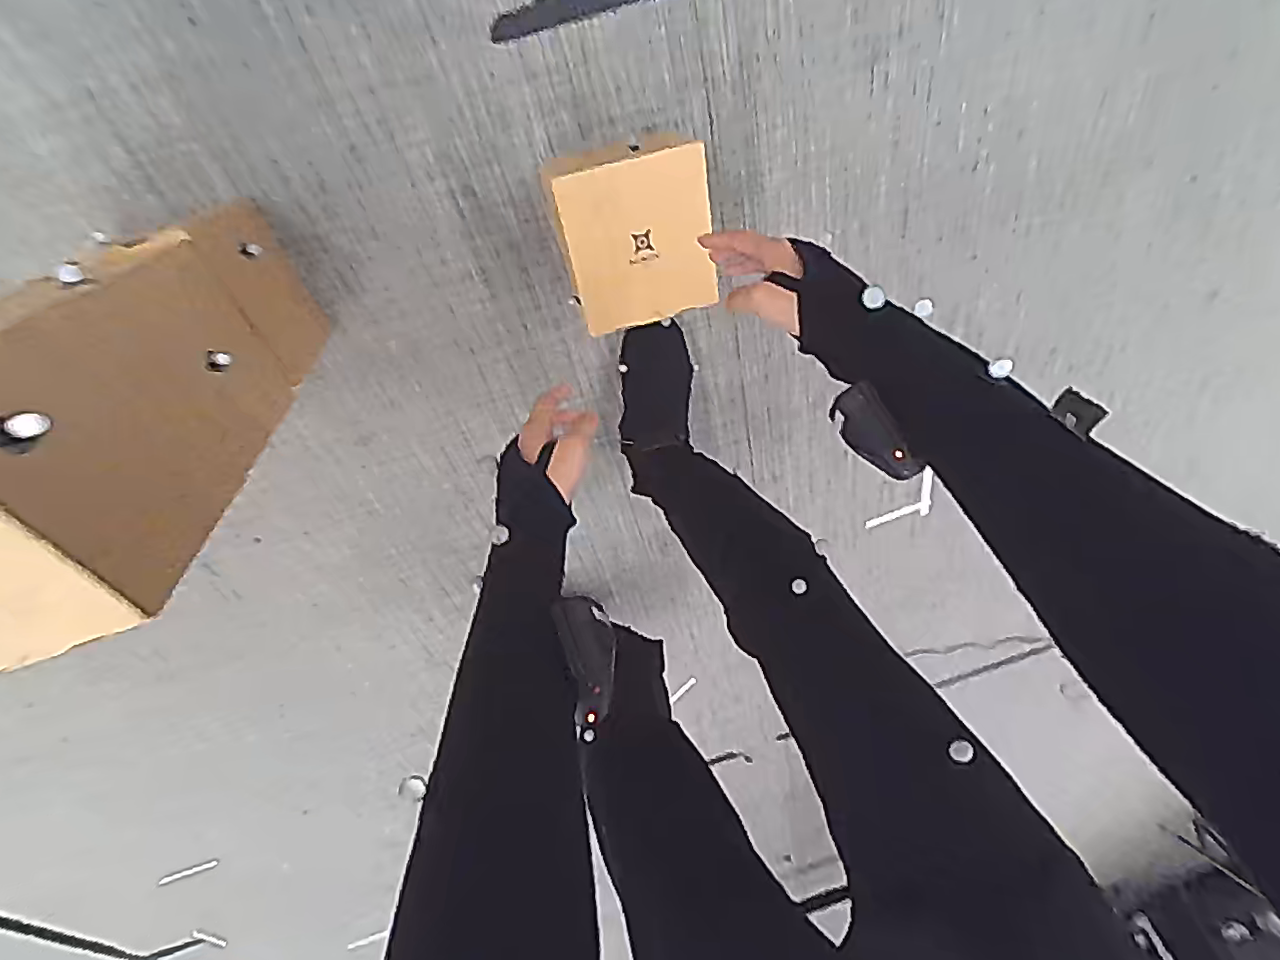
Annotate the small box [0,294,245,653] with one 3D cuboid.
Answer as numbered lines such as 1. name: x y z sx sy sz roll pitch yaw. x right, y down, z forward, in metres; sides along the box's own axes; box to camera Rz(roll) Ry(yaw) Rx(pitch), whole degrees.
1. small box: -0.427 -0.009 0.368 0.168 0.176 0.179 -18 129 0

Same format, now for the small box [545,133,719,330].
1. small box: -0.014 -0.316 0.673 0.168 0.176 0.179 -16 128 -3

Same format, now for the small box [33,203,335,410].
1. small box: -0.493 -0.203 0.624 0.168 0.176 0.179 -19 127 0
